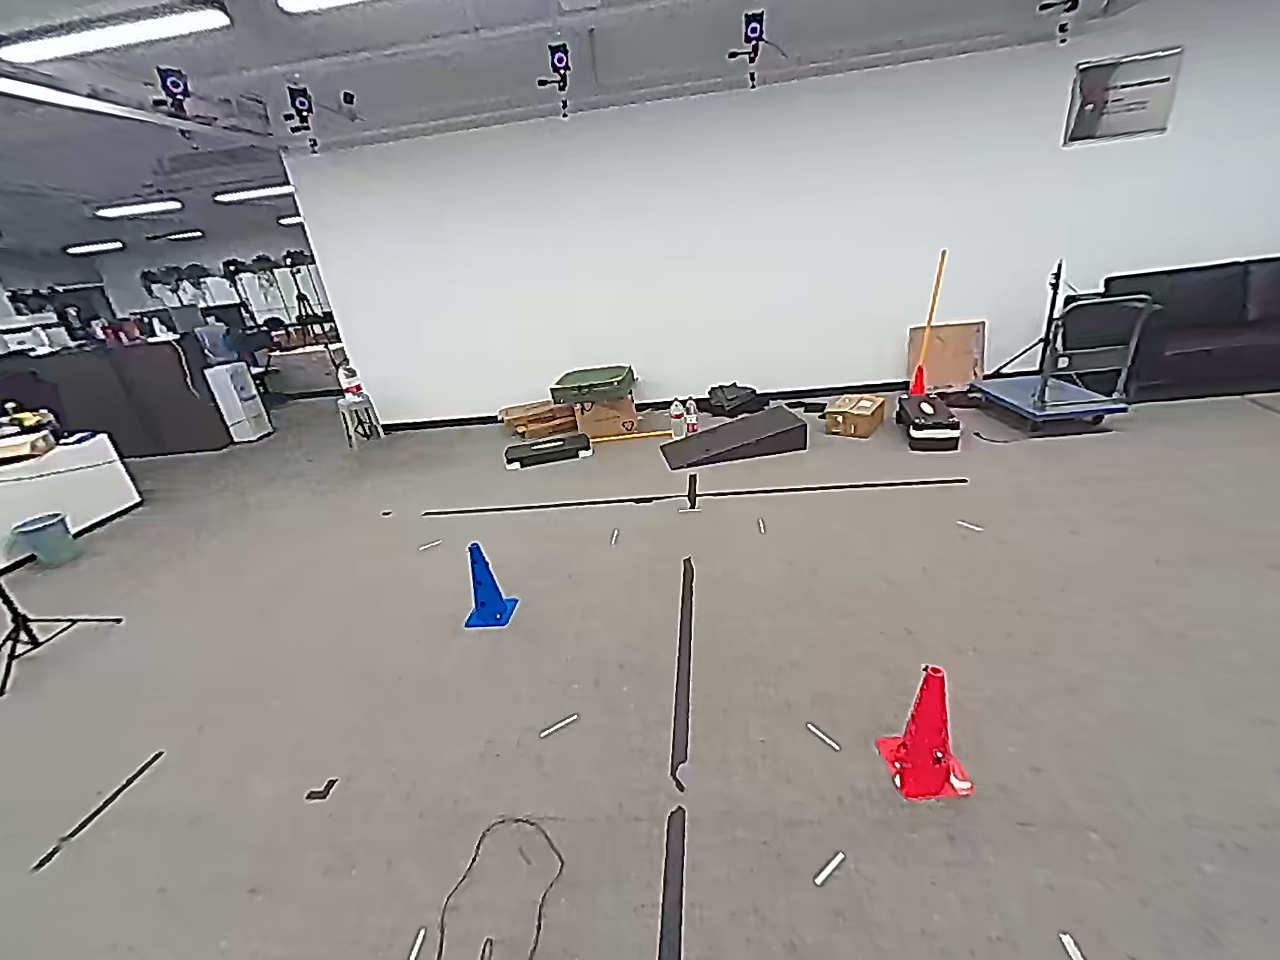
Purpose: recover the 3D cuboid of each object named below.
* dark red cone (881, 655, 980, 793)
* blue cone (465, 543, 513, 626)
[{"bbox_3d":[0.792,0.634,1.459,0.201,0.394,0.202,-7,23,1],"label":"dark red cone"},{"bbox_3d":[-0.698,0.445,2.377,0.192,0.380,0.193,-4,23,9],"label":"blue cone"}]
